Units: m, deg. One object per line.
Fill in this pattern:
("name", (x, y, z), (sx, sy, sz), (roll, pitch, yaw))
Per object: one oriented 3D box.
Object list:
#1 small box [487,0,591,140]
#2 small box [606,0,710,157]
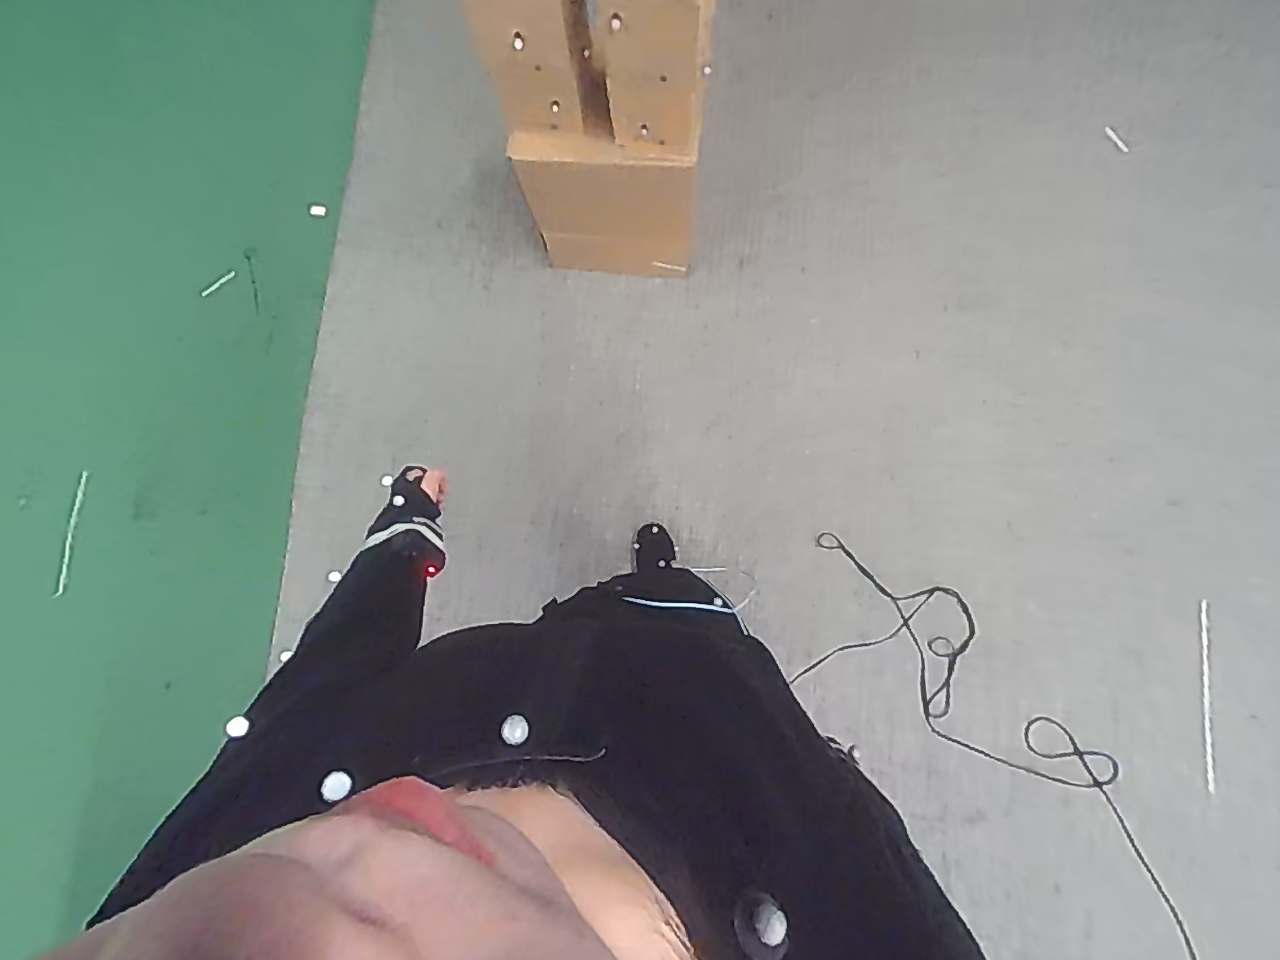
("small box", (-0.194, -0.826, 1.090), (0.168, 0.176, 0.179), (7, 84, 1))
("small box", (0.037, -0.788, 1.074), (0.168, 0.176, 0.179), (11, 85, 5))
